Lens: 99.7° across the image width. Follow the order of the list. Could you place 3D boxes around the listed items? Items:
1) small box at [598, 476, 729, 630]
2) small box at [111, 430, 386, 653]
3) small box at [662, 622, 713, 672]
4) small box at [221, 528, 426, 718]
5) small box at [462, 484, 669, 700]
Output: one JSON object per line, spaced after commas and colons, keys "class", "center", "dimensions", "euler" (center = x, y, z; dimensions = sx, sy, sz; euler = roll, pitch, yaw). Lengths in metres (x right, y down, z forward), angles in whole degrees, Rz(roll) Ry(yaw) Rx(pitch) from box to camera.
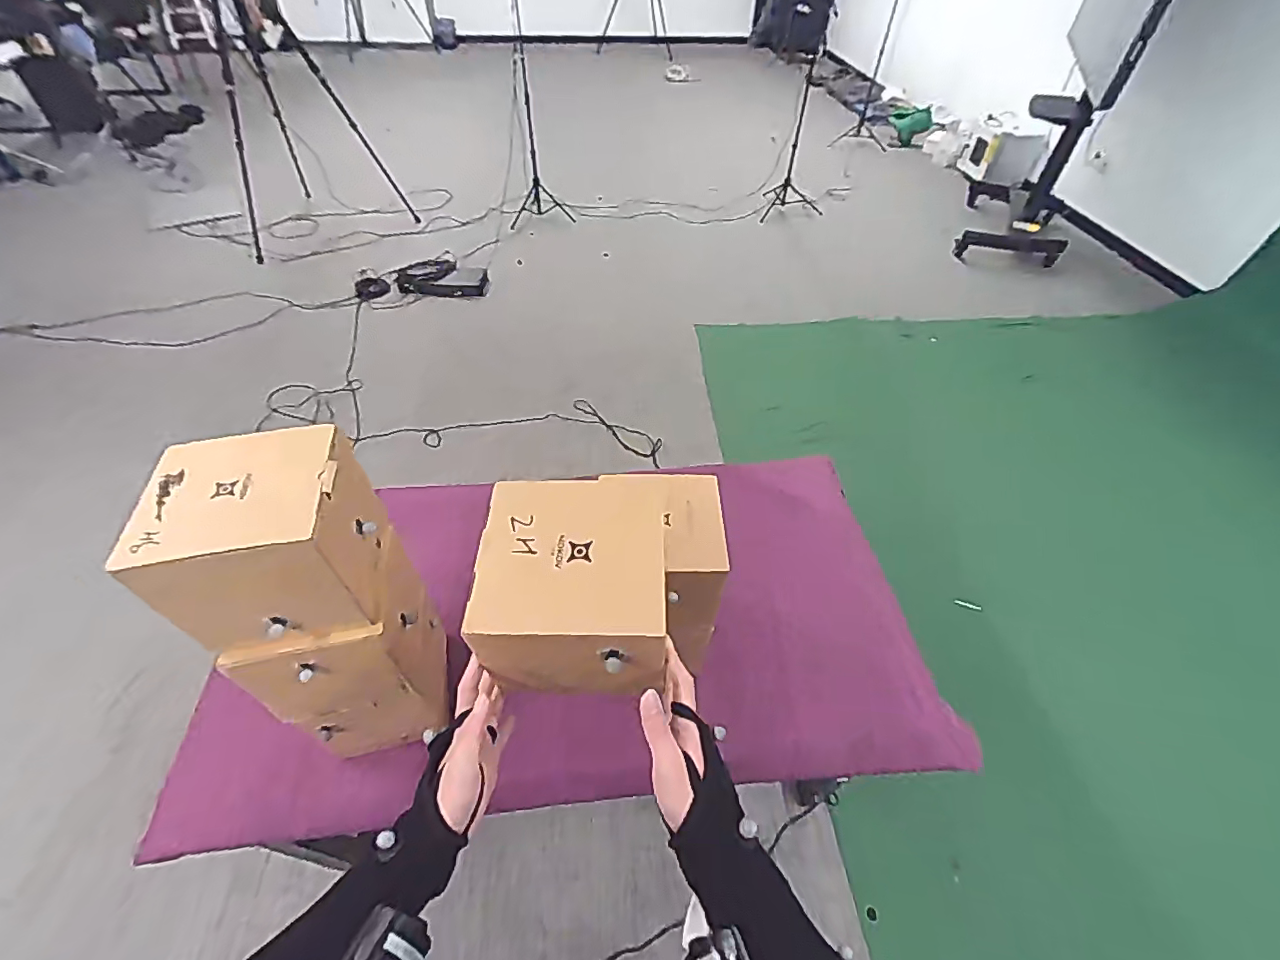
{"class": "small box", "center": [0.026, 0.110, 0.796], "dimensions": [0.179, 0.176, 0.168], "euler": [1, 49, -1]}
{"class": "small box", "center": [-0.400, 0.069, 0.600], "dimensions": [0.179, 0.176, 0.168], "euler": [-9, 48, -9]}
{"class": "small box", "center": [0.024, 0.216, 0.920], "dimensions": [0.179, 0.176, 0.168], "euler": [2, 49, -1]}
{"class": "small box", "center": [-0.392, 0.189, 0.712], "dimensions": [0.179, 0.176, 0.168], "euler": [-10, 48, -9]}
{"class": "small box", "center": [-0.061, 0.120, 0.564], "dimensions": [0.179, 0.176, 0.168], "euler": [0, 52, 1]}
